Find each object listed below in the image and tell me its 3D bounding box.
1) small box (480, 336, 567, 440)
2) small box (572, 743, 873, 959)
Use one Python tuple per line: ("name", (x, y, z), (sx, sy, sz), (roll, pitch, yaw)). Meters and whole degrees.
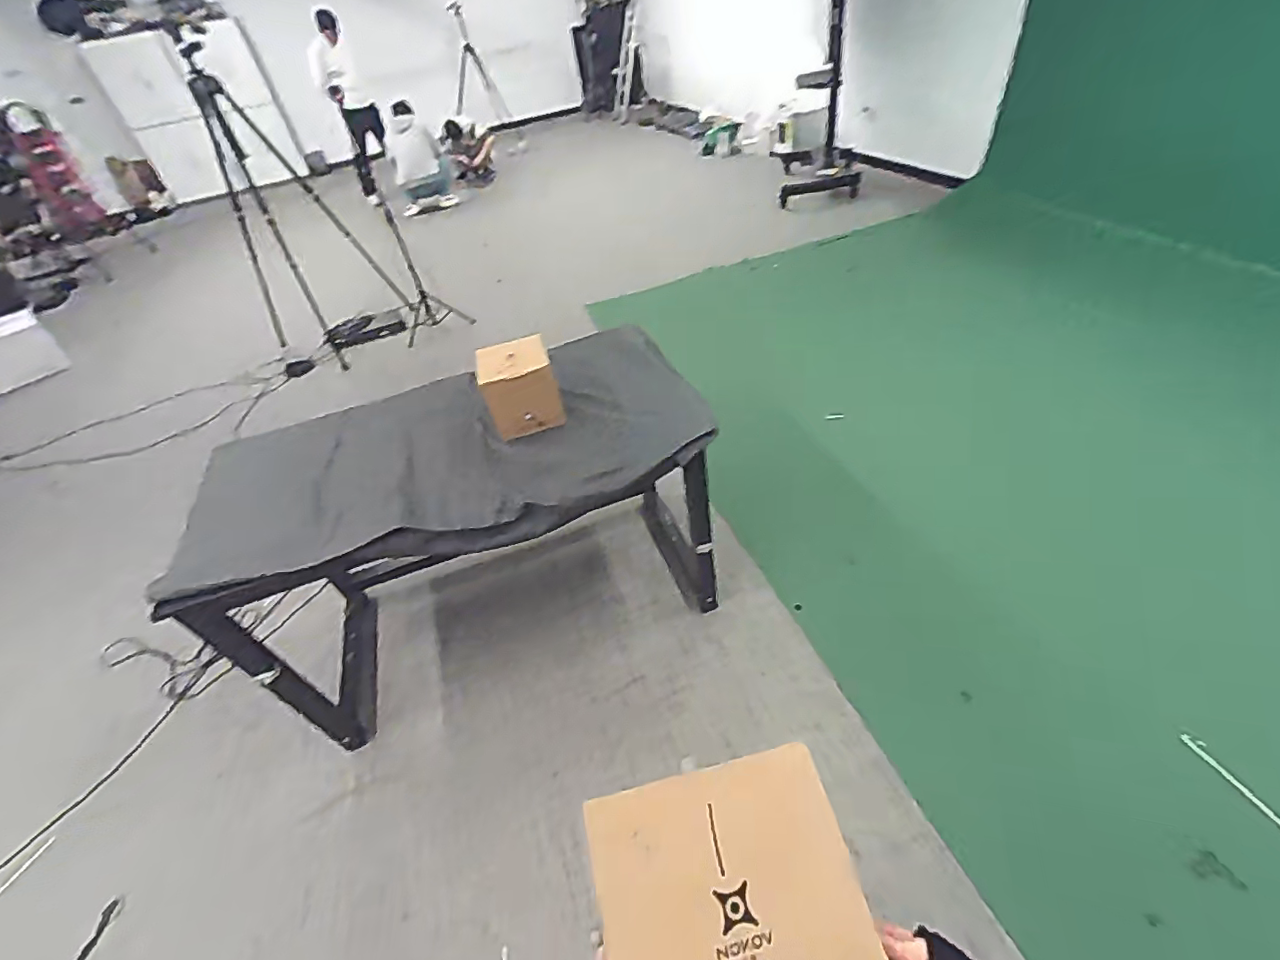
("small box", (-0.287, -0.227, 1.336), (0.168, 0.176, 0.179), (-17, 43, -6))
("small box", (0.052, 0.315, 0.397), (0.168, 0.176, 0.179), (-12, 57, -8))
